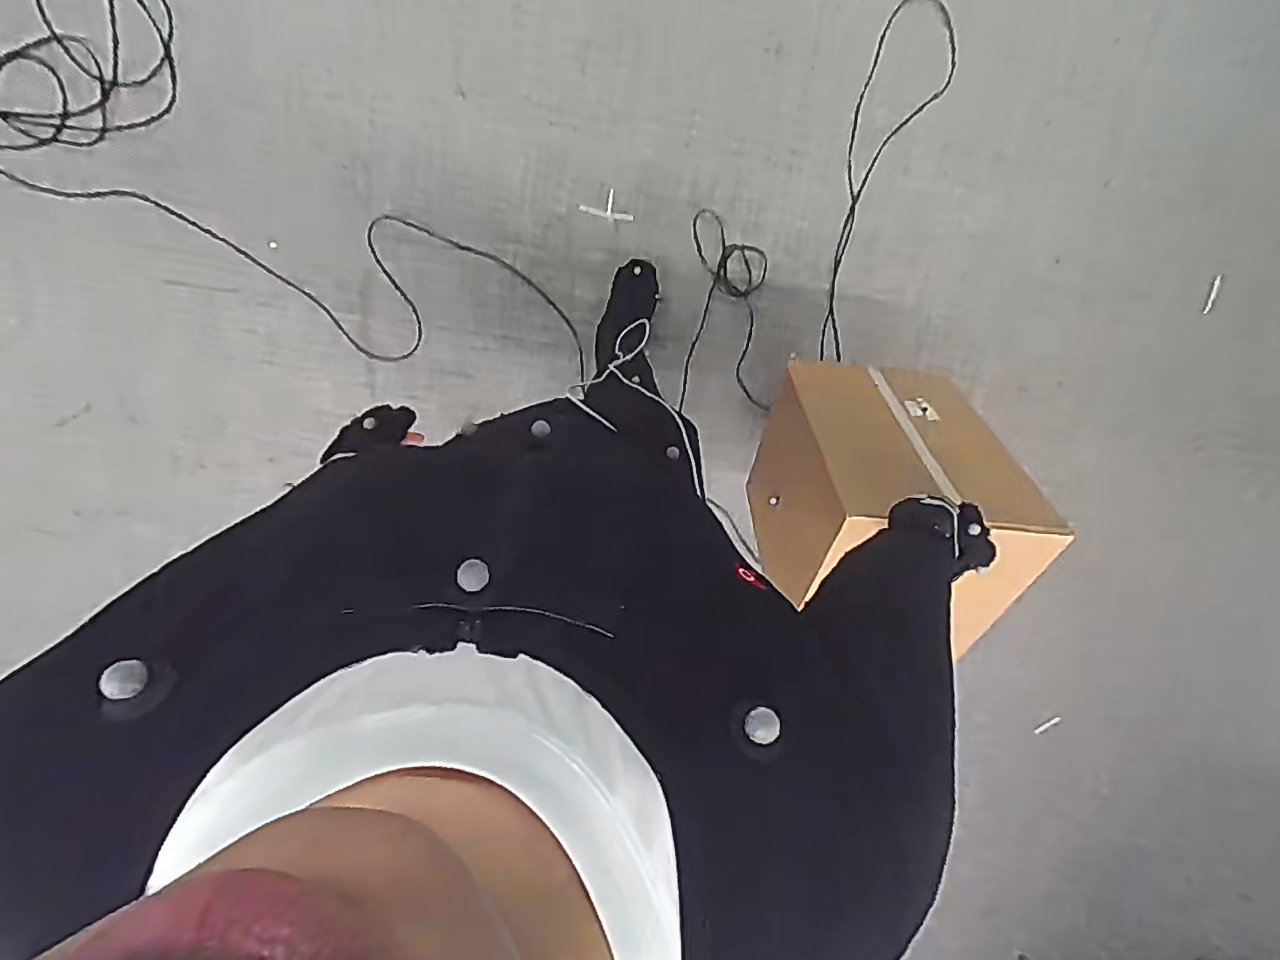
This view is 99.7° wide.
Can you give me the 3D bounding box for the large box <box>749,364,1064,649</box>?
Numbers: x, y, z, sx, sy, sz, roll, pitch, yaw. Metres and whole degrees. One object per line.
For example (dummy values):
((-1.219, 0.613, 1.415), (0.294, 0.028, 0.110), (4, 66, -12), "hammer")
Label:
((0.402, 0.039, 0.954), (0.320, 0.408, 0.320), (6, 130, -4), "large box")
